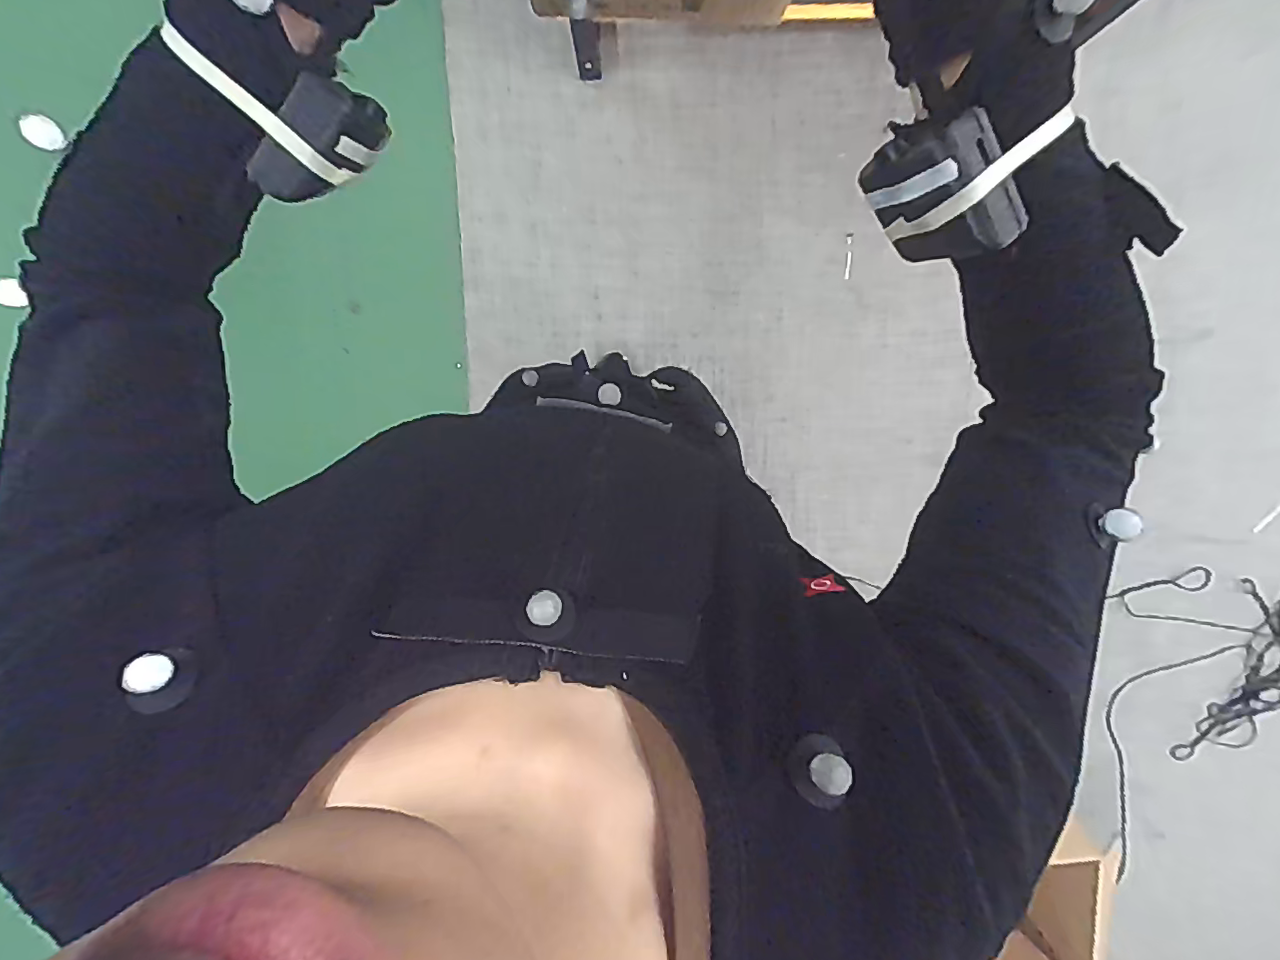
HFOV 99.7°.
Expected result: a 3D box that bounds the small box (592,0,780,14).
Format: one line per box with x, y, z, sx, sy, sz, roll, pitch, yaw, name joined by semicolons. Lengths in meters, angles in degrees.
0.014;-0.367;0.254;0.168;0.176;0.179;1;101;-1;small box
